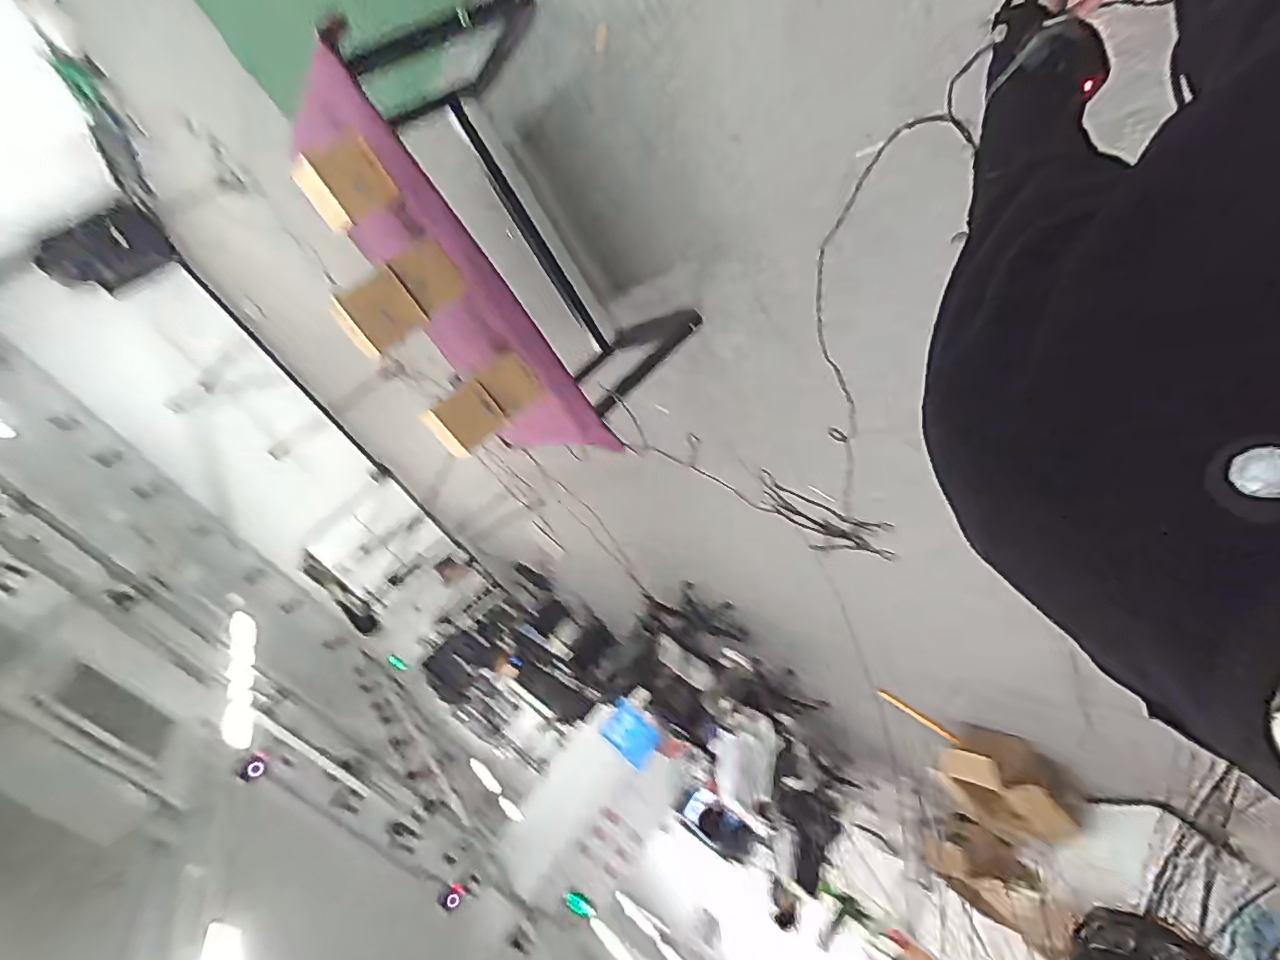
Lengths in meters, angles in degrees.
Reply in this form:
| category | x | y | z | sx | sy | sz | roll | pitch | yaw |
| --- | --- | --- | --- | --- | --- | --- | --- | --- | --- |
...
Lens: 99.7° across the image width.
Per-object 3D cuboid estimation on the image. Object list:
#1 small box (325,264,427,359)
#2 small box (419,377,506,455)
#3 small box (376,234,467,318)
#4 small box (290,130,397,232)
| category | x | y | z | sx | sy | sz | roll | pitch | yaw |
| --- | --- | --- | --- | --- | --- | --- | --- | --- | --- |
| small box | -0.725 | -0.461 | 1.493 | 0.168 | 0.176 | 0.179 | 7 | 138 | 52 |
| small box | -0.537 | -0.191 | 1.644 | 0.179 | 0.176 | 0.168 | 1 | 133 | 56 |
| small box | -0.636 | -0.578 | 1.568 | 0.168 | 0.176 | 0.179 | 8 | 137 | 52 |
| small box | -0.783 | -0.795 | 1.441 | 0.179 | 0.176 | 0.168 | 11 | 141 | 48 |
